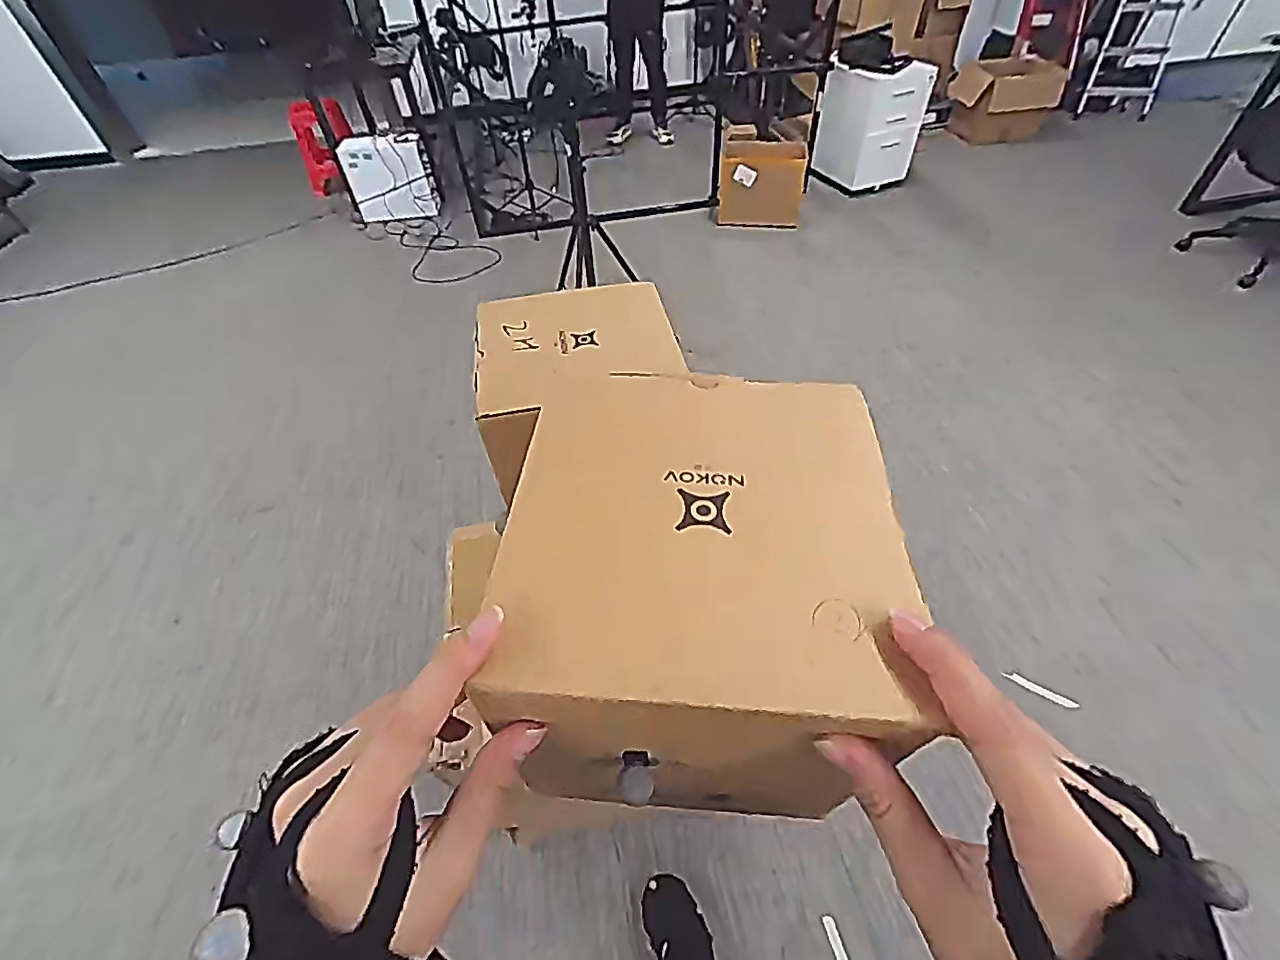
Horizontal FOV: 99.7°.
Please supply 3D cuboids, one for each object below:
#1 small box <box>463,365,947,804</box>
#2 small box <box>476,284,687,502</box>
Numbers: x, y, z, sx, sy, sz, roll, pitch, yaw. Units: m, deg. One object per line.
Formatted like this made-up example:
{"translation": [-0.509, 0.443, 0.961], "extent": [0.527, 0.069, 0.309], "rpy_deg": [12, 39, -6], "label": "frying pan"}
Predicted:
{"translation": [0.027, 0.058, 0.293], "extent": [0.168, 0.176, 0.179], "rpy_deg": [2, 47, 3], "label": "small box"}
{"translation": [-0.053, -0.067, 0.535], "extent": [0.179, 0.176, 0.168], "rpy_deg": [-10, 49, -5], "label": "small box"}
